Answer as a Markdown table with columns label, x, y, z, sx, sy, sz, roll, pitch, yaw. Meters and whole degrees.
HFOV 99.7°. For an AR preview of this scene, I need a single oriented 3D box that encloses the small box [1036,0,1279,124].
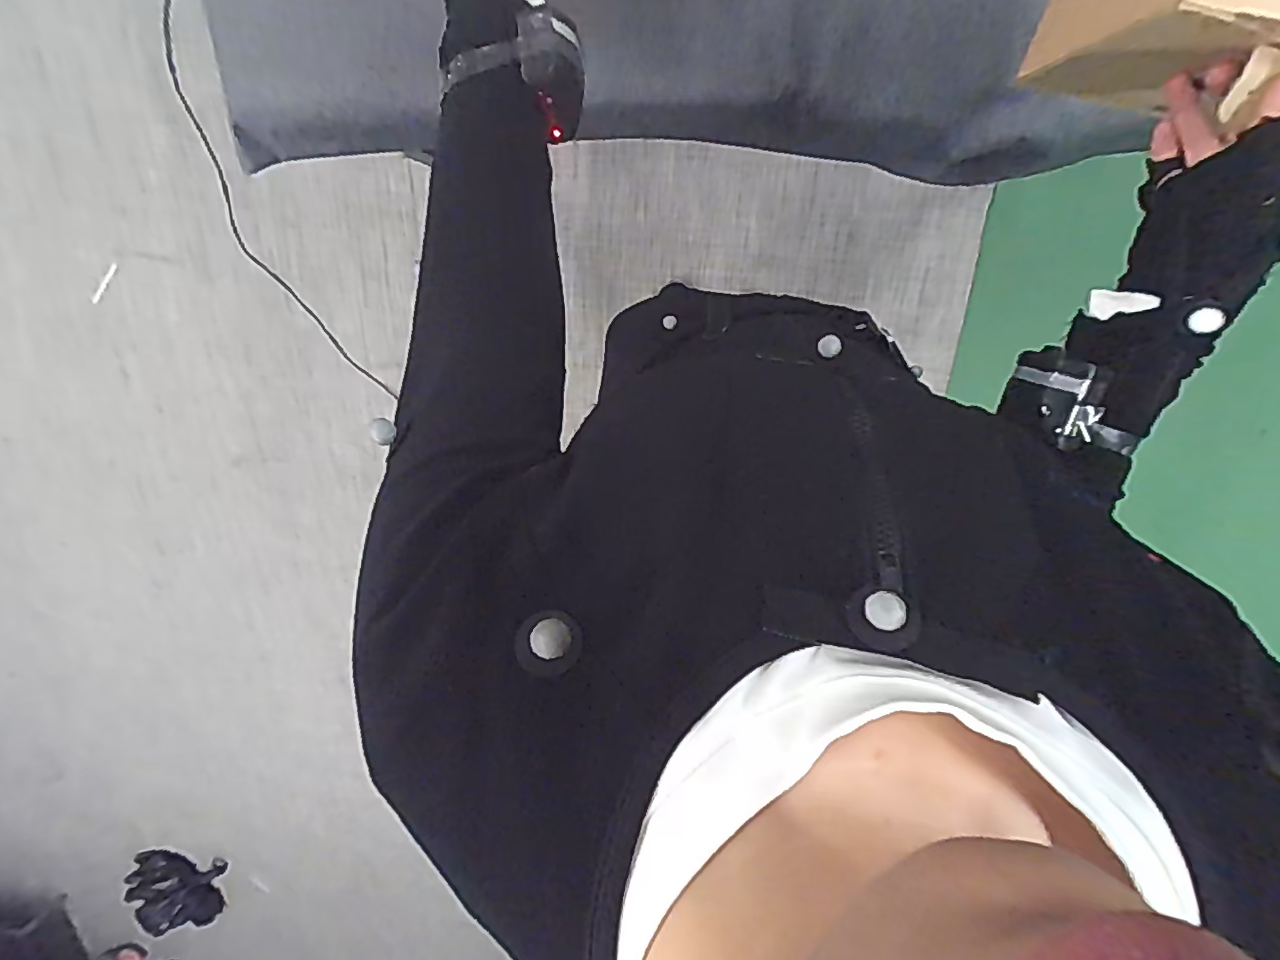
| label | x | y | z | sx | sy | sz | roll | pitch | yaw |
| --- | --- | --- | --- | --- | --- | --- | --- | --- | --- |
| small box | 0.379 | -0.330 | 0.312 | 0.168 | 0.176 | 0.179 | 14 | 116 | 0 |
